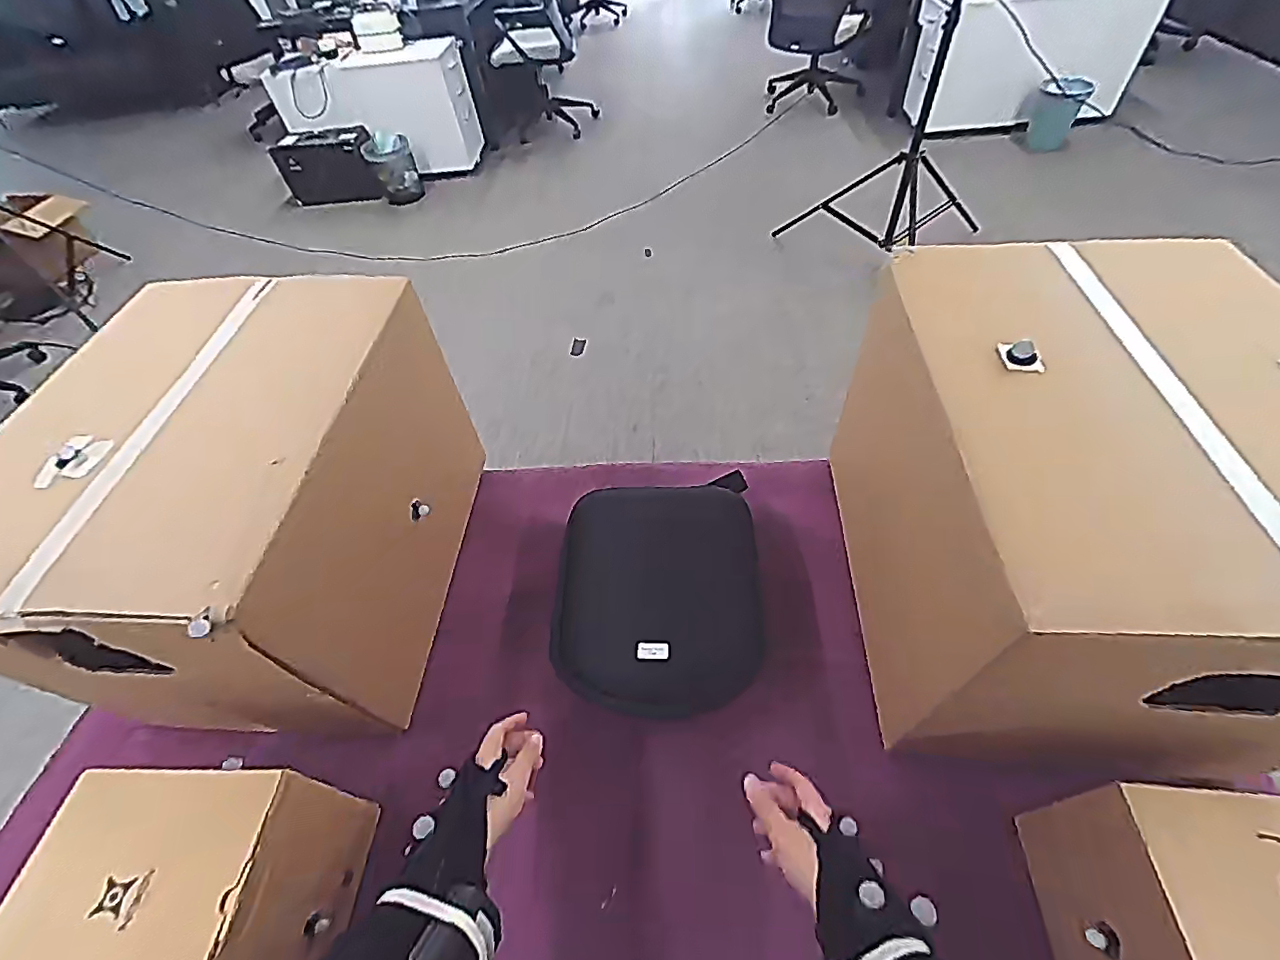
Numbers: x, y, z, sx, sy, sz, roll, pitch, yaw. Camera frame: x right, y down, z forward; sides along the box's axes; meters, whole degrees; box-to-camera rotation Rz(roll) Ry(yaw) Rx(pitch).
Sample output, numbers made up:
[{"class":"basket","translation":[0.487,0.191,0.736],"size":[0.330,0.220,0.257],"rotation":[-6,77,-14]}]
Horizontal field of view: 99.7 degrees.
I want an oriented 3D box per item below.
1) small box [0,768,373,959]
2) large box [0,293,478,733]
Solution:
[{"class":"small box","translation":[-0.365,0.352,0.452],"size":[0.179,0.176,0.168],"rotation":[-2,50,4]},{"class":"large box","translation":[-0.408,0.039,0.617],"size":[0.320,0.320,0.408],"rotation":[-1,54,4]}]
